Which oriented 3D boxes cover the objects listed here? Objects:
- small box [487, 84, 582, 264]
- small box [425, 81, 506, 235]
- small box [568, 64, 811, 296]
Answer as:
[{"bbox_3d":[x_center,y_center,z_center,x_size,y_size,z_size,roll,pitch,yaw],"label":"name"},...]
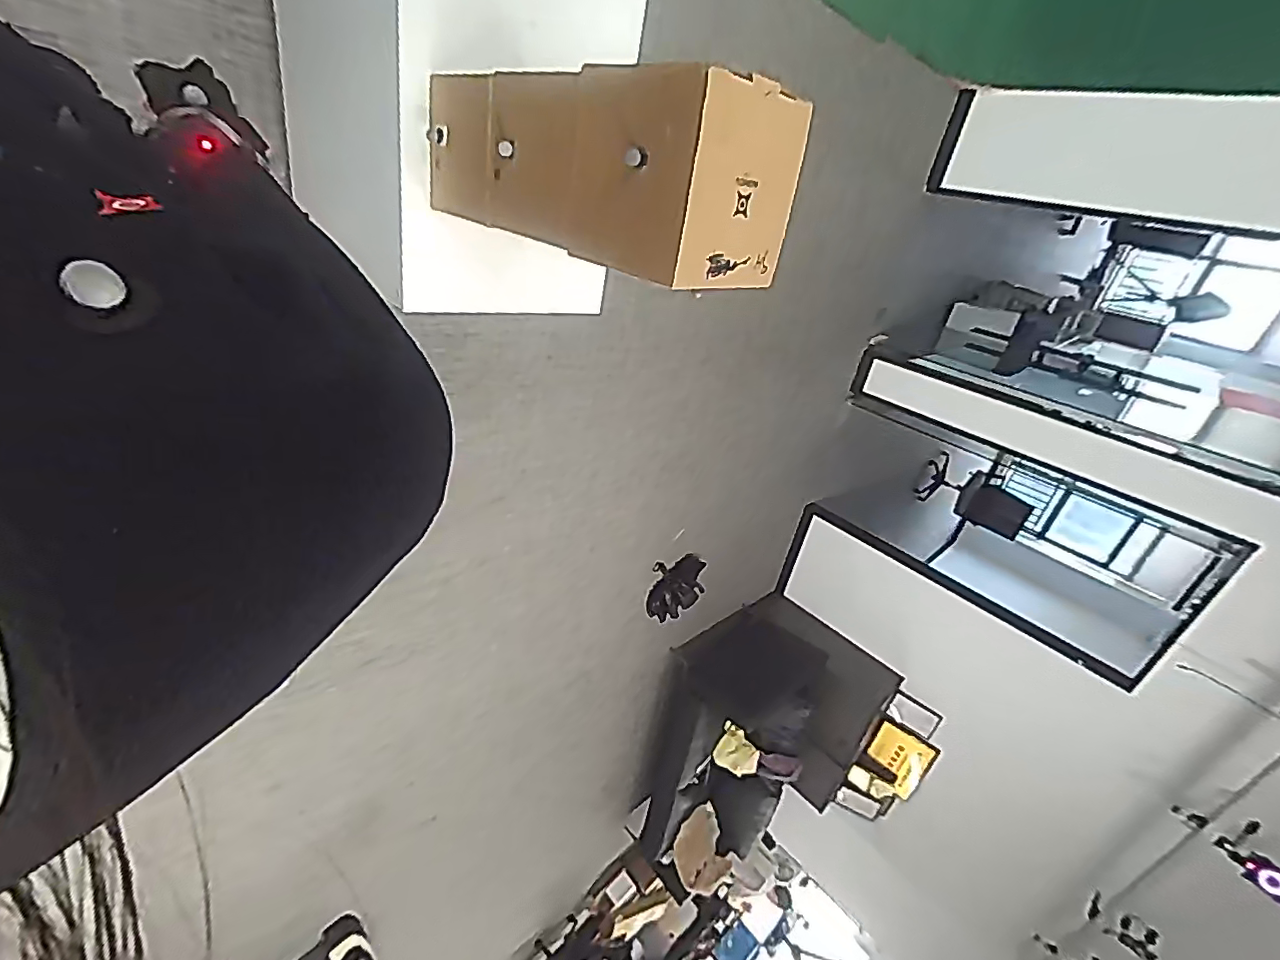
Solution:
[{"bbox_3d":[-0.064,-0.367,0.658,0.179,0.176,0.168,-21,131,-41],"label":"small box"},{"bbox_3d":[-0.178,-0.438,0.753,0.179,0.176,0.168,-17,128,-40],"label":"small box"},{"bbox_3d":[0.041,-0.297,0.554,0.168,0.176,0.179,-18,128,-40],"label":"small box"}]
